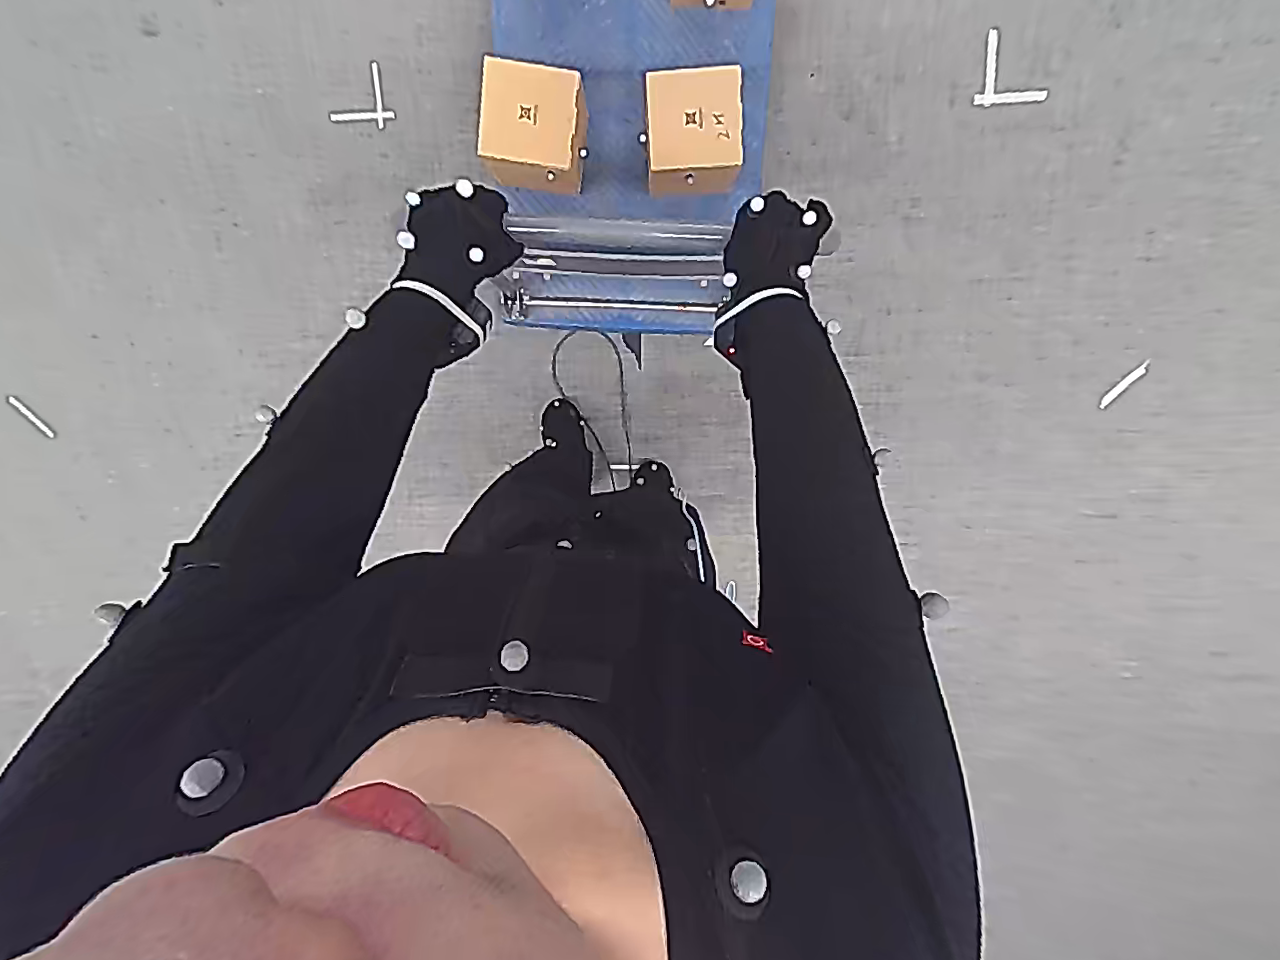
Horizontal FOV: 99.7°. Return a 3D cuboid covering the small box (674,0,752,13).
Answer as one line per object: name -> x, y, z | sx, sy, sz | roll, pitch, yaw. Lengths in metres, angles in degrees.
small box -> 0.147, -1.026, 1.005 | 0.168, 0.176, 0.179 | 2, 103, 0

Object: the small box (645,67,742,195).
small box -> 0.103, -0.683, 1.078 | 0.179, 0.176, 0.168 | -3, 102, 1

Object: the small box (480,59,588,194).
small box -> -0.204, -0.691, 1.077 | 0.179, 0.176, 0.168 | 7, 101, -3
